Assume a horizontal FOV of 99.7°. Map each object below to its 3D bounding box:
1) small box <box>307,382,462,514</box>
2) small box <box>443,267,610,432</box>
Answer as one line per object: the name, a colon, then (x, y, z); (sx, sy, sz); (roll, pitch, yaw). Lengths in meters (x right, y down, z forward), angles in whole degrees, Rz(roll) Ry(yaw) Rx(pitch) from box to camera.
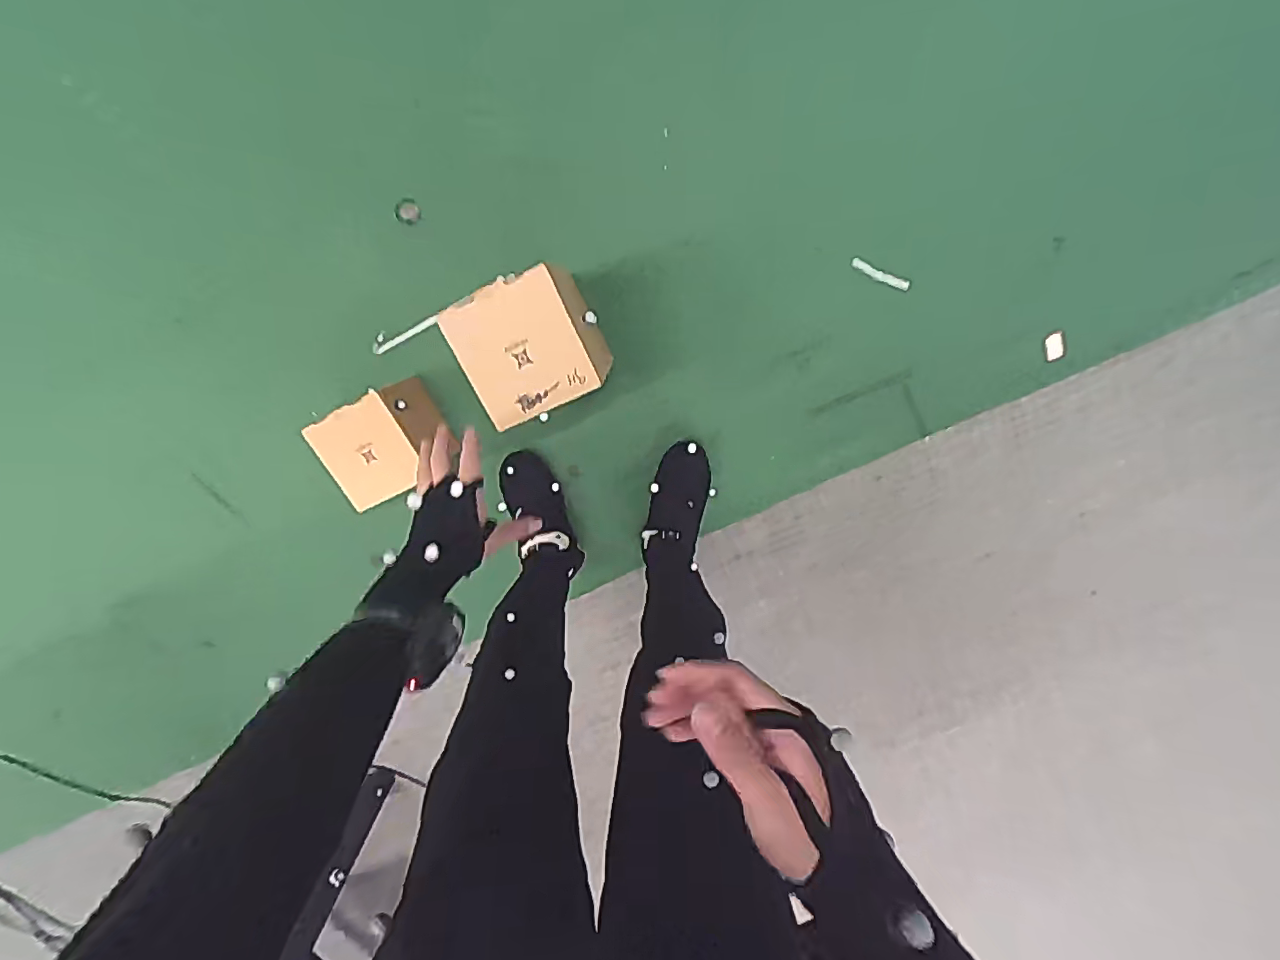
small box: (-0.471, -0.068, 1.031); (0.168, 0.176, 0.179); (-24, 107, 10)
small box: (-0.154, -0.195, 0.802); (0.168, 0.176, 0.179); (-22, 108, 9)
